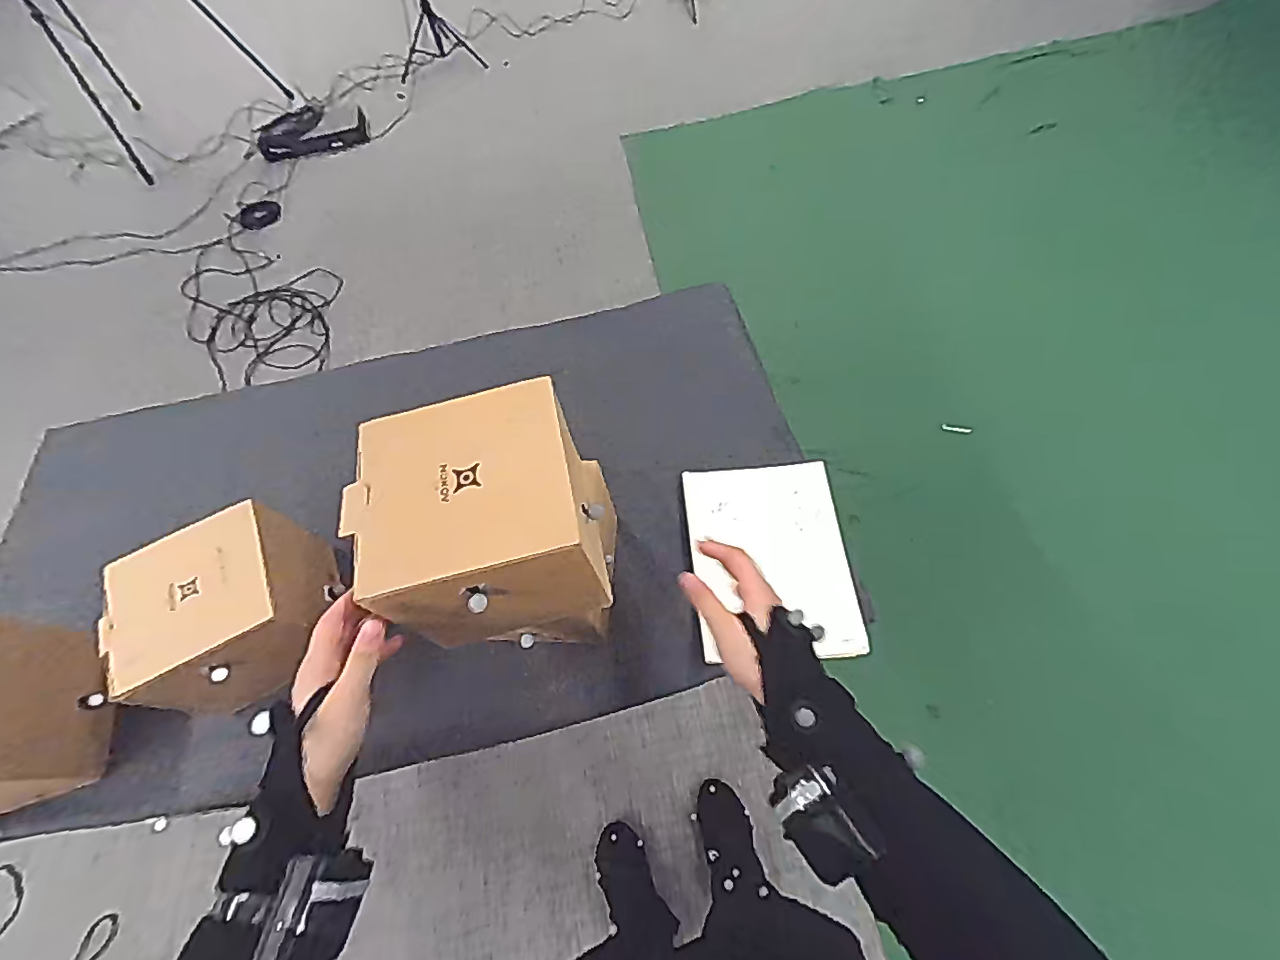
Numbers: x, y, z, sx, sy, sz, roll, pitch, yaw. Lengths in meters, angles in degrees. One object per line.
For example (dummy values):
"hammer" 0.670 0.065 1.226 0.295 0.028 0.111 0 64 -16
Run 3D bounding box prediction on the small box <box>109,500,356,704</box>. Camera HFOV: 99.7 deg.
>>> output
"small box" -0.496 0.160 0.674 0.179 0.176 0.168 -27 64 -9

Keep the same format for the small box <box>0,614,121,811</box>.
"small box" -0.771 0.284 0.639 0.168 0.176 0.179 -18 63 -4

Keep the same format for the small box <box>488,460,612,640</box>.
"small box" -0.131 0.090 0.667 0.168 0.176 0.179 0 63 7

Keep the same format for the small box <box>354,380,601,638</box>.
"small box" -0.140 0.037 0.512 0.179 0.176 0.168 -15 62 -1
